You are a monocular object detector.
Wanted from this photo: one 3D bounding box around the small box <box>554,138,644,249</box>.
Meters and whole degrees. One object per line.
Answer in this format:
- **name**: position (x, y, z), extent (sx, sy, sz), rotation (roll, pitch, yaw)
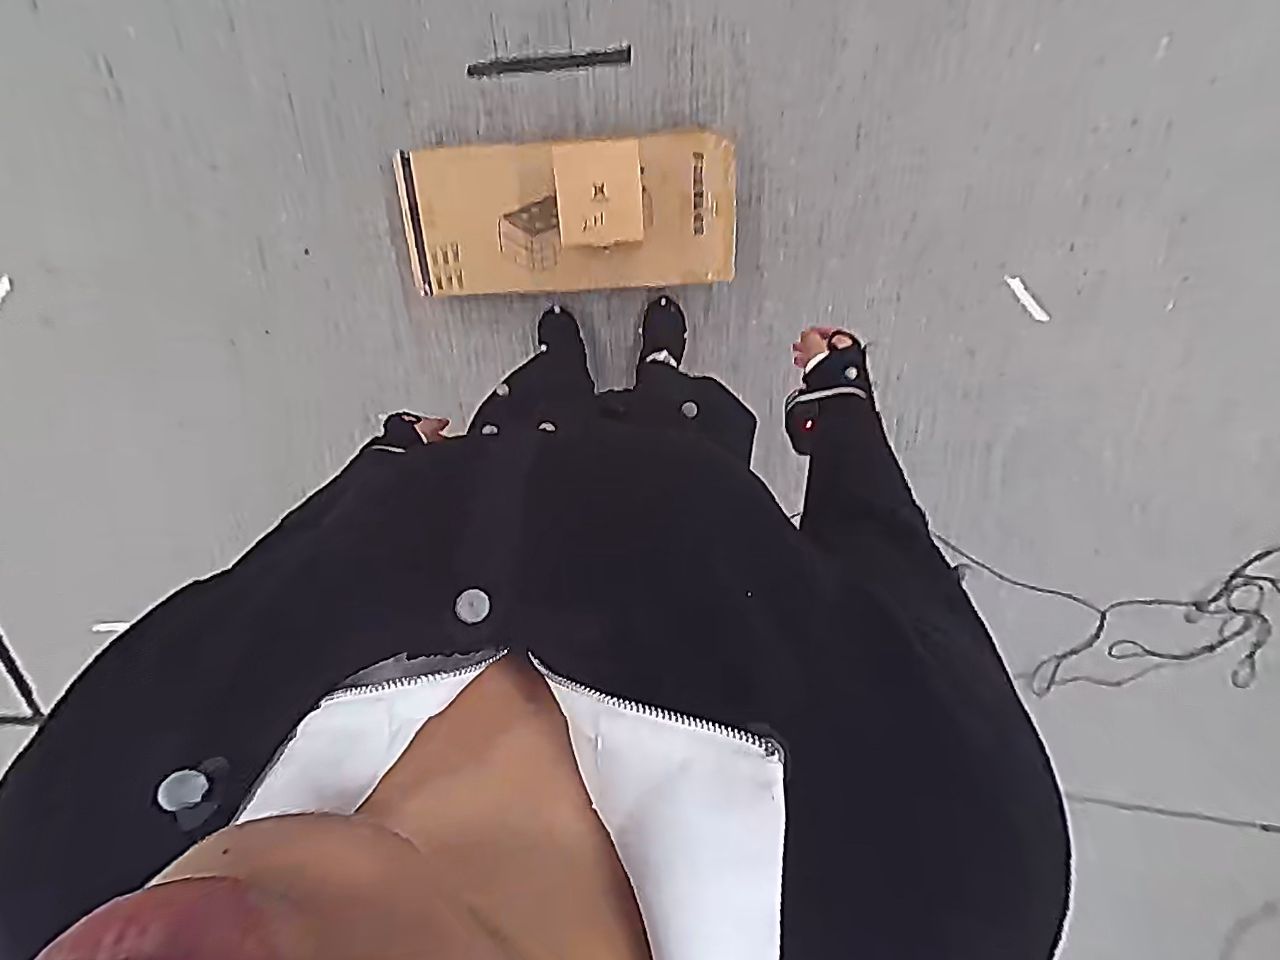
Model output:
- **small box**: position (-0.076, -0.578, 1.110), extent (0.168, 0.176, 0.179), rotation (-2, 110, 3)
